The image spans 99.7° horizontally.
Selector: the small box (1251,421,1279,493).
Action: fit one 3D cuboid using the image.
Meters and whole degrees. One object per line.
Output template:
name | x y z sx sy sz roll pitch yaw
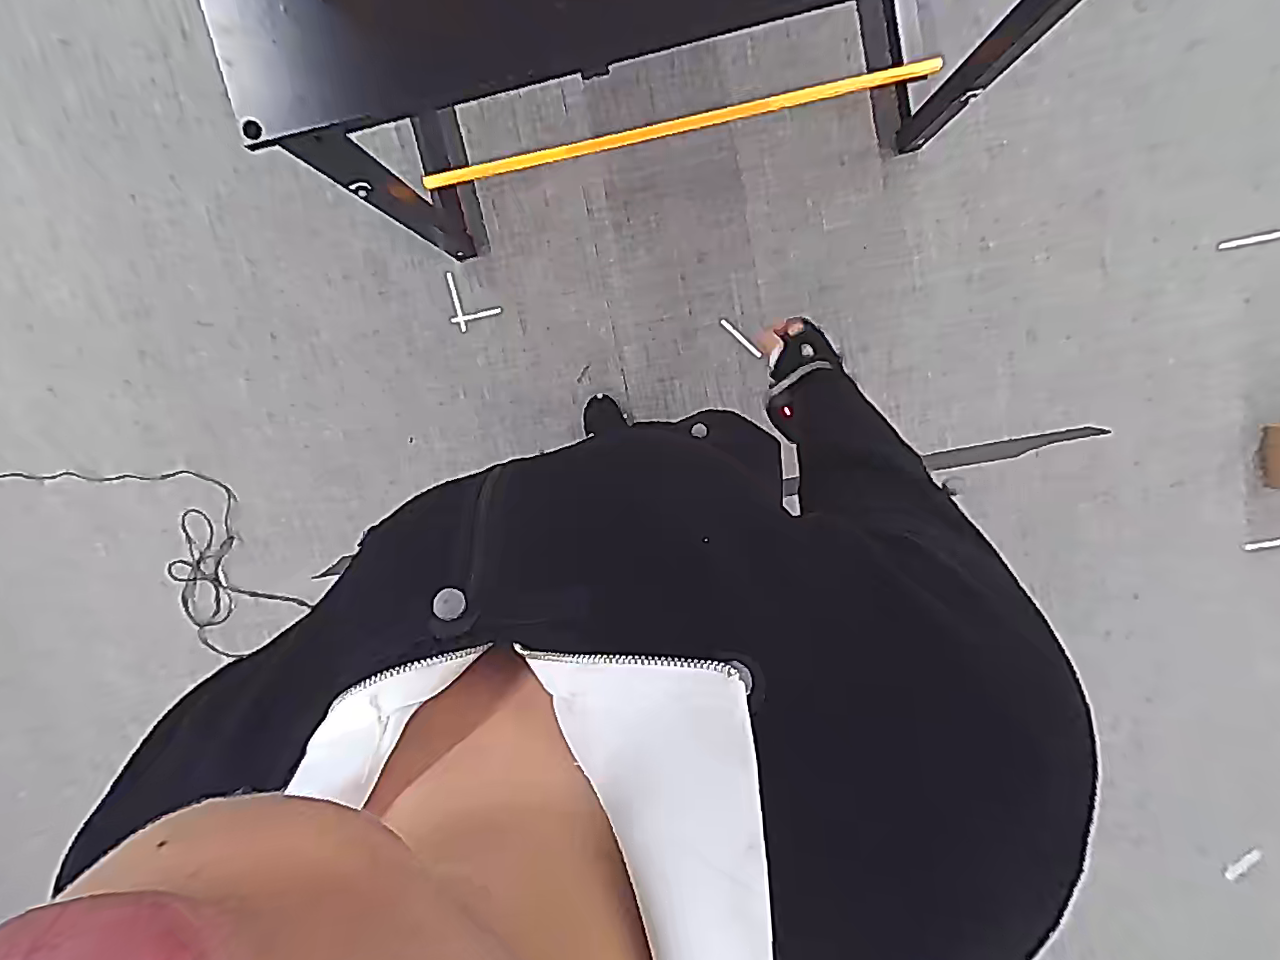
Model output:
small box | 1.712 -0.058 1.363 0.168 0.176 0.179 -12 100 4
